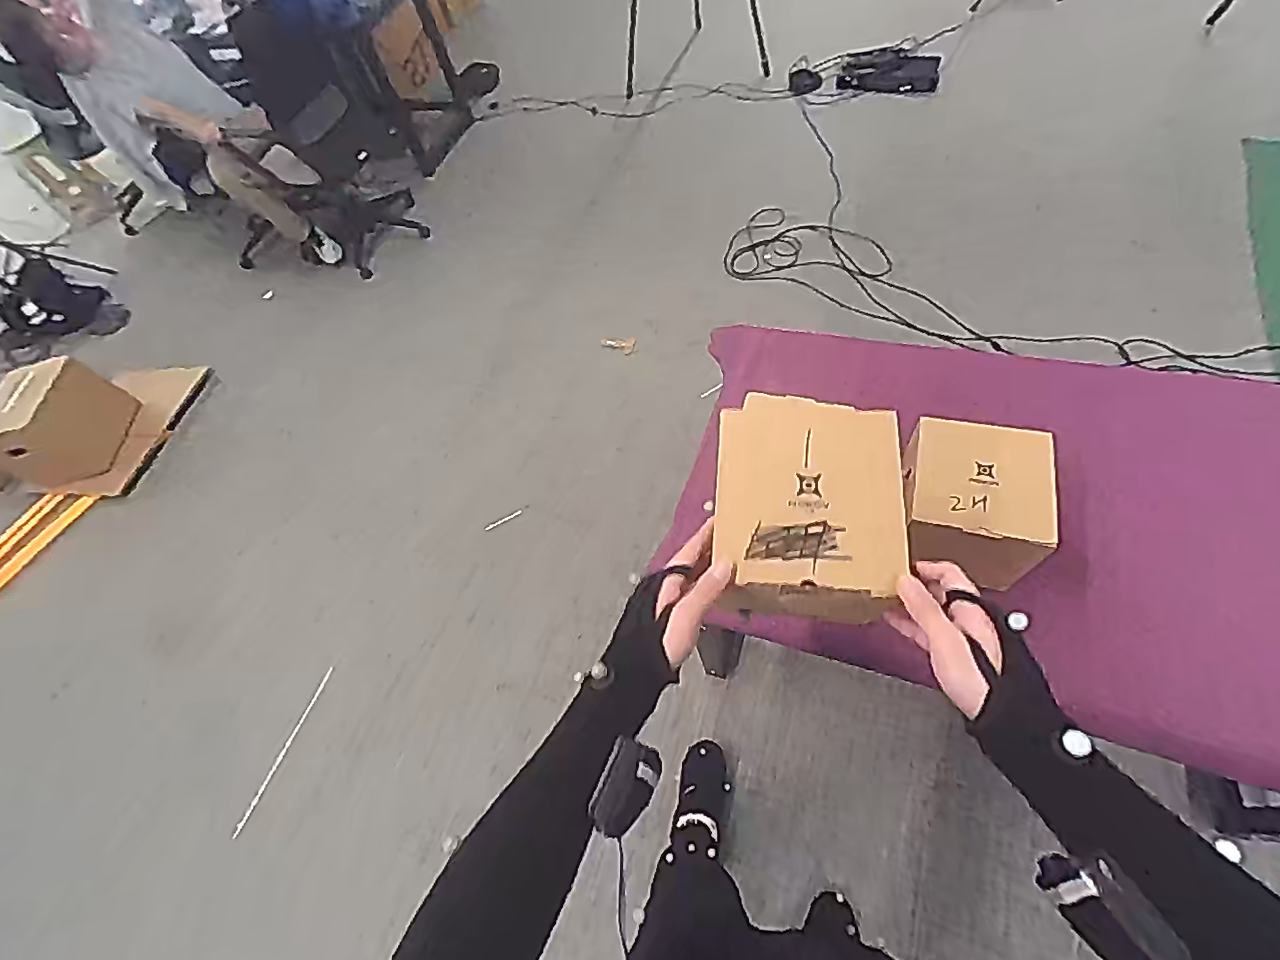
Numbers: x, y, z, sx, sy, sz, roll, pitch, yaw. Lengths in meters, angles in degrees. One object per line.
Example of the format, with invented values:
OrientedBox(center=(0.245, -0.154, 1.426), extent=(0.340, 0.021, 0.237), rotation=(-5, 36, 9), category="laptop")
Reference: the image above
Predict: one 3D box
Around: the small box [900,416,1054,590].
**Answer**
OrientedBox(center=(0.468, 0.036, 0.787), extent=(0.168, 0.176, 0.179), rotation=(11, 62, 17), category="small box")

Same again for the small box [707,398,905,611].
OrientedBox(center=(0.162, 0.033, 0.562), extent=(0.168, 0.176, 0.179), rotation=(3, 67, 10), category="small box")
